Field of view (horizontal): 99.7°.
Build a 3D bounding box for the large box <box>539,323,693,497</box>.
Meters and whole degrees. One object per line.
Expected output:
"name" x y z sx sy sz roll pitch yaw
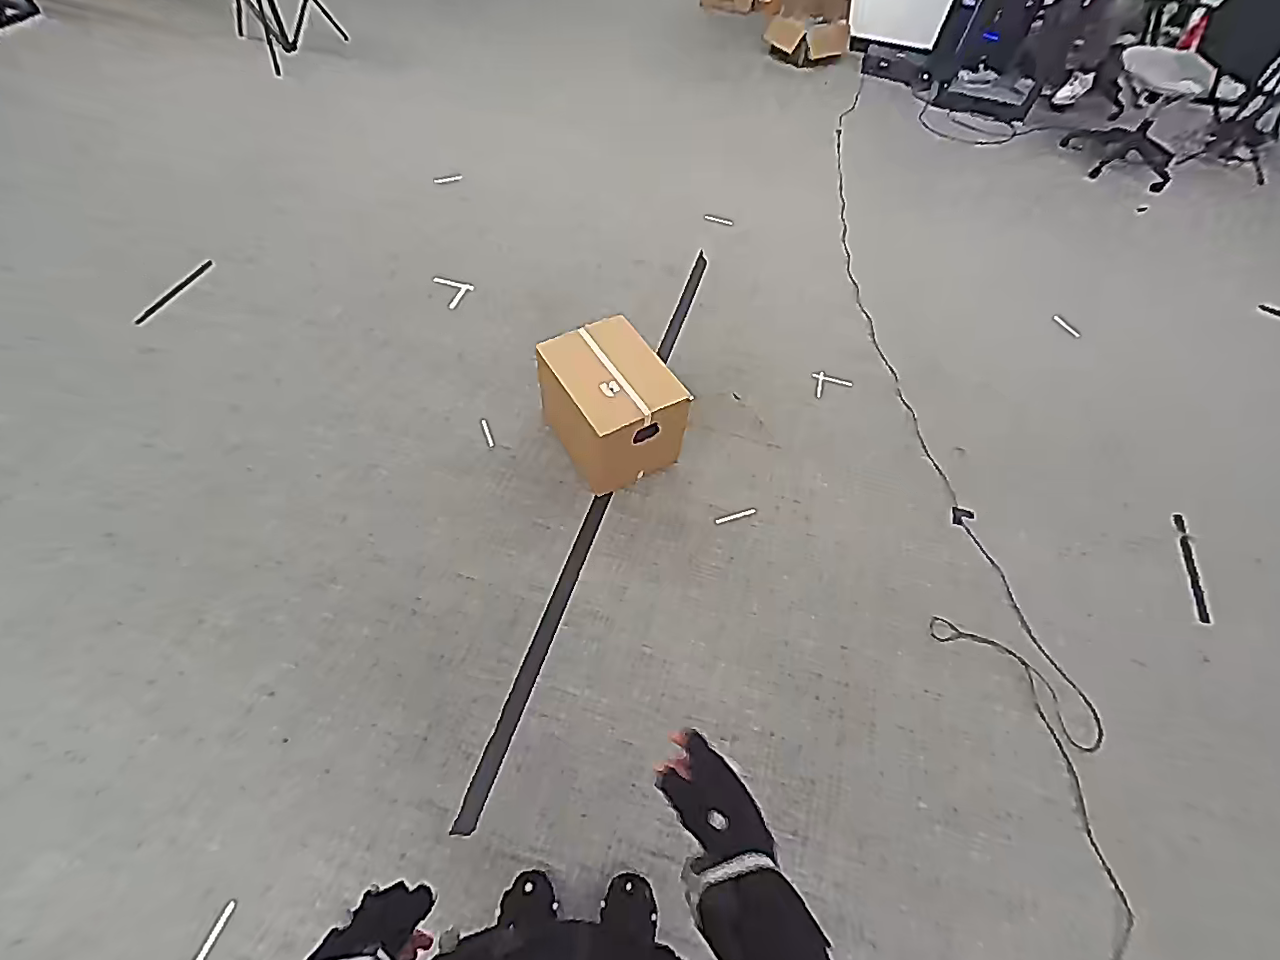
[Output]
"large box" -0.091 -0.227 1.734 0.320 0.320 0.408 -26 63 -20
